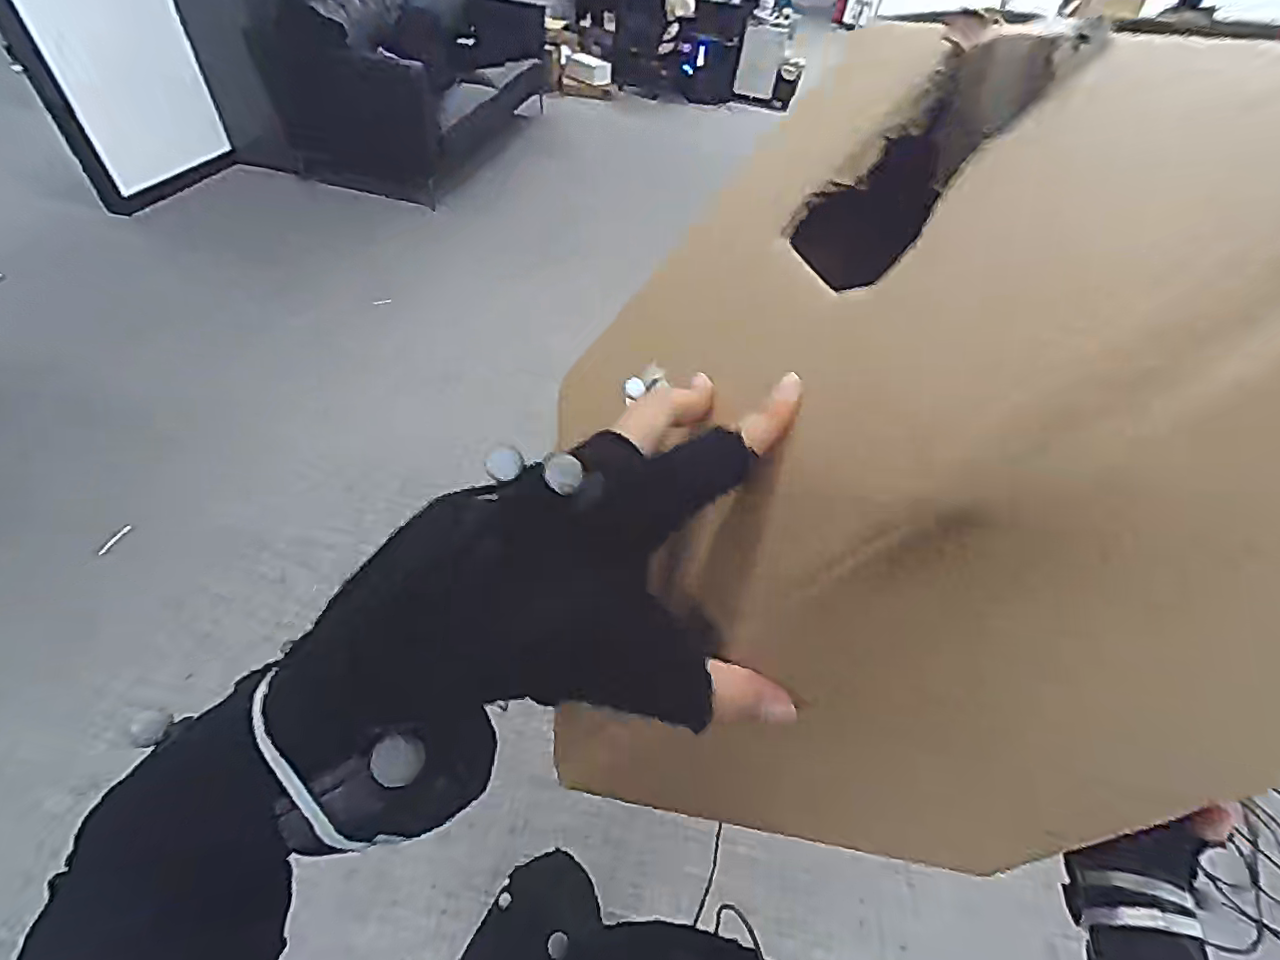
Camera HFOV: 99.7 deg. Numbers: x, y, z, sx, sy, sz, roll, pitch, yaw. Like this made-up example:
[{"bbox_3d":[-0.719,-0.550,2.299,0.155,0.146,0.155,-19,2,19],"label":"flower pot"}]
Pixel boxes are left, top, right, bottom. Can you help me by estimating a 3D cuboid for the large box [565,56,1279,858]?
[{"bbox_3d":[0.197,0.023,0.373,0.408,0.320,0.320,32,32,-29],"label":"large box"}]
